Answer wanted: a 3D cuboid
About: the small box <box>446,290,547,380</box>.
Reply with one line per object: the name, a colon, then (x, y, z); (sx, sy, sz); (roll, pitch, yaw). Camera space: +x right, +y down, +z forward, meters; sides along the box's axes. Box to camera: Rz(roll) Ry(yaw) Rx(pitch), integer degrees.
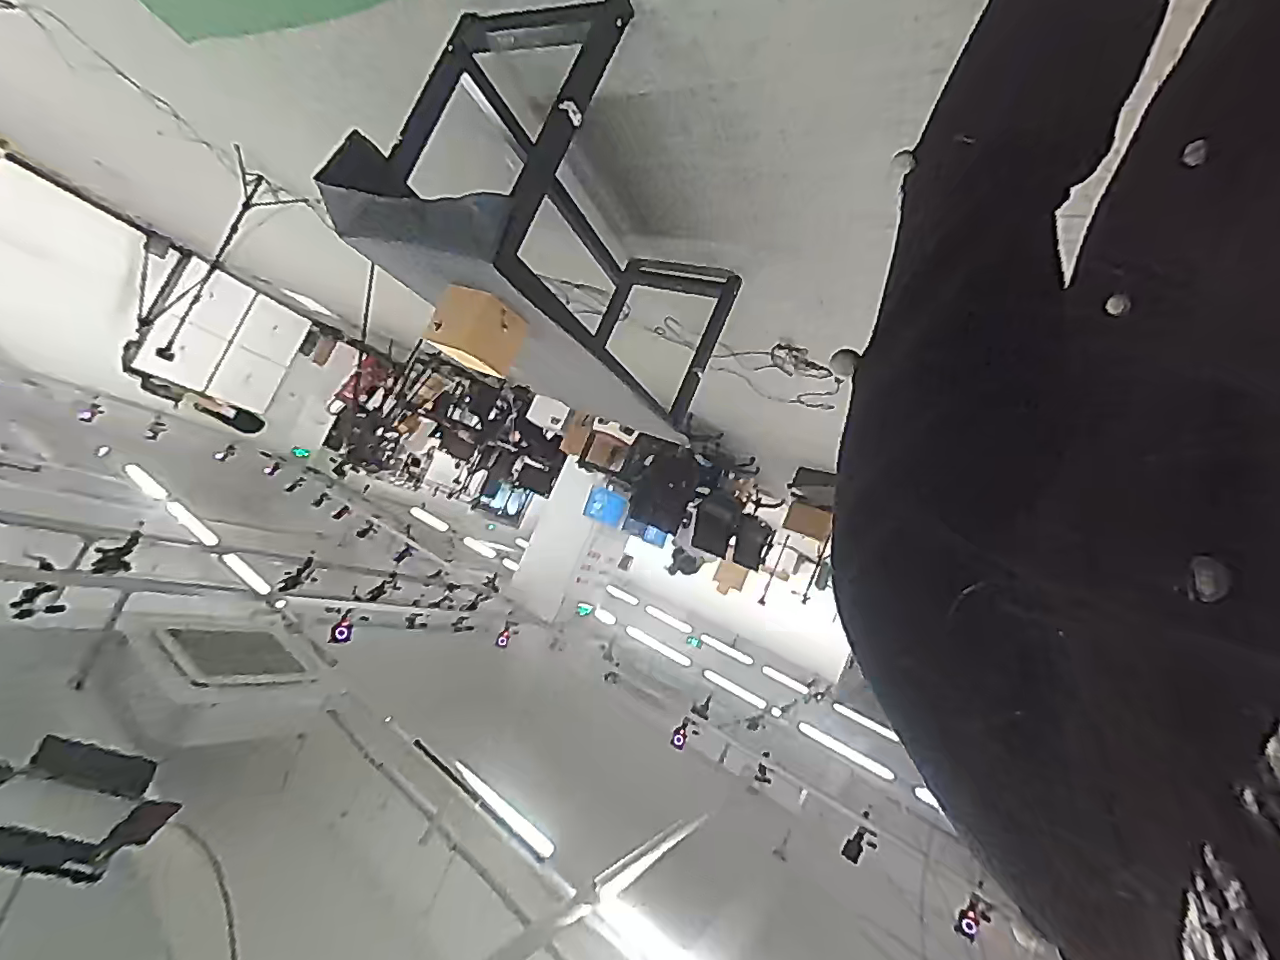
small box: (-0.390, -0.400, 1.489); (0.179, 0.176, 0.168); (21, 176, 32)
